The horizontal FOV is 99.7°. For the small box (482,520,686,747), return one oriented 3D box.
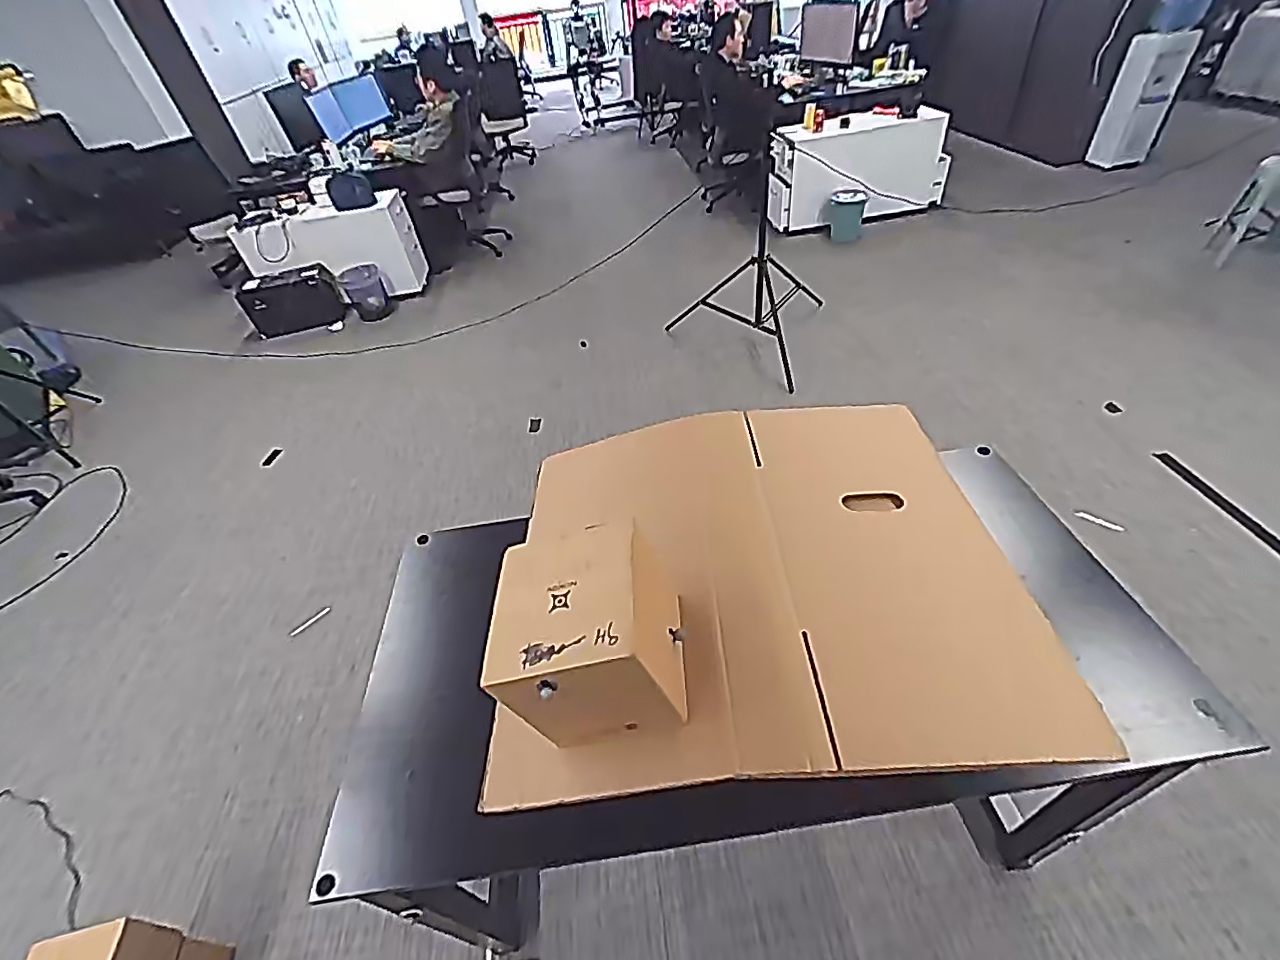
[{"bbox_3d":[-0.052,0.179,0.623,0.168,0.176,0.179,-16,41,14],"label":"small box"}]

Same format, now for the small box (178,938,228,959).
[{"bbox_3d":[-0.997,1.086,1.113,0.168,0.176,0.179,-12,44,-3],"label":"small box"}]

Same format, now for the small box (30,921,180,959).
[{"bbox_3d":[-1.018,0.964,1.006,0.168,0.176,0.179,-13,42,-6],"label":"small box"}]
